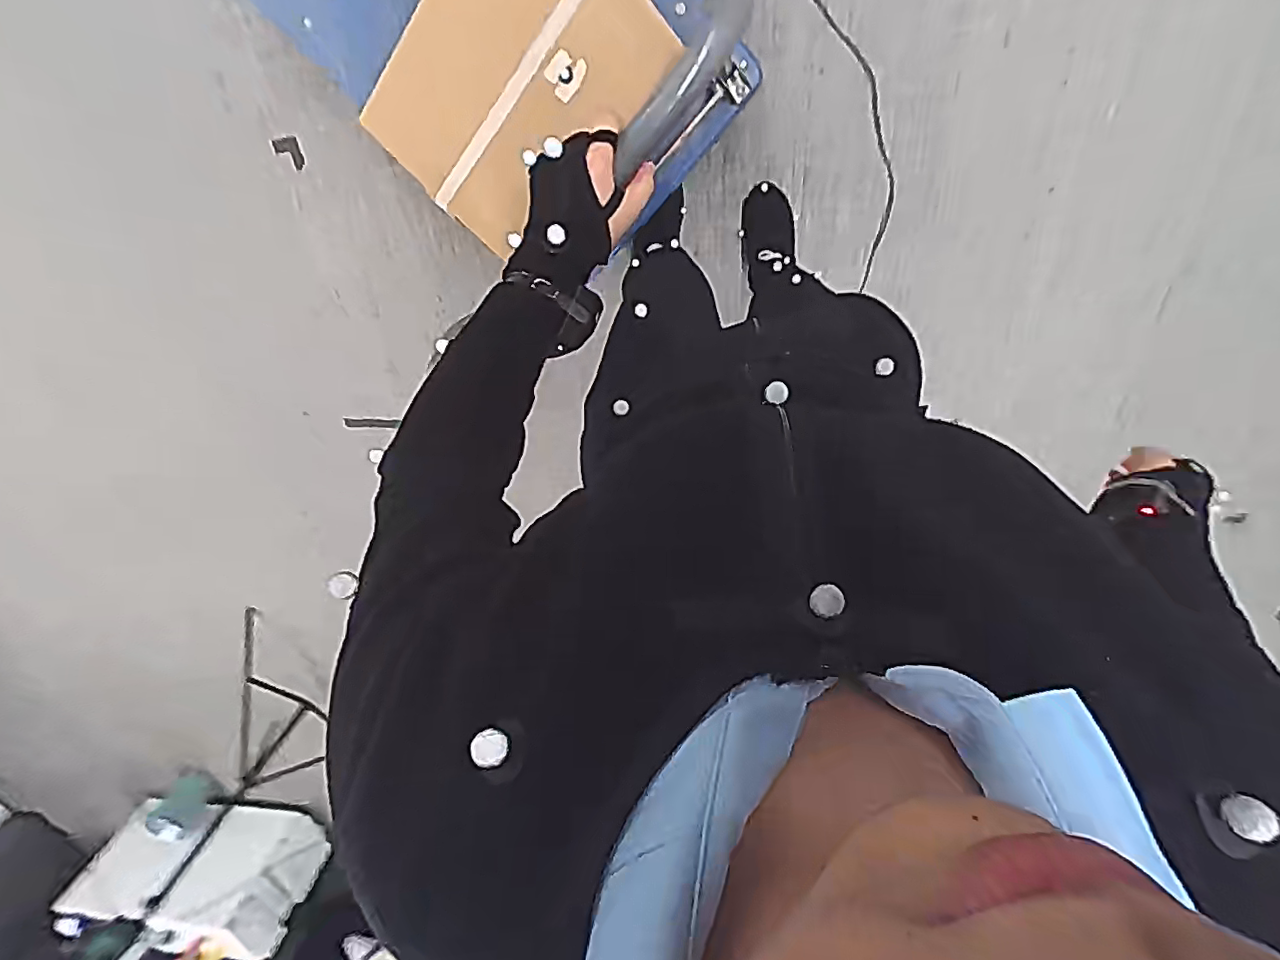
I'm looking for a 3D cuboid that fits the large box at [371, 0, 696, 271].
[{"bbox_3d":[-0.155,-0.633,0.908,0.320,0.320,0.408,42,117,-17],"label":"large box"}]
